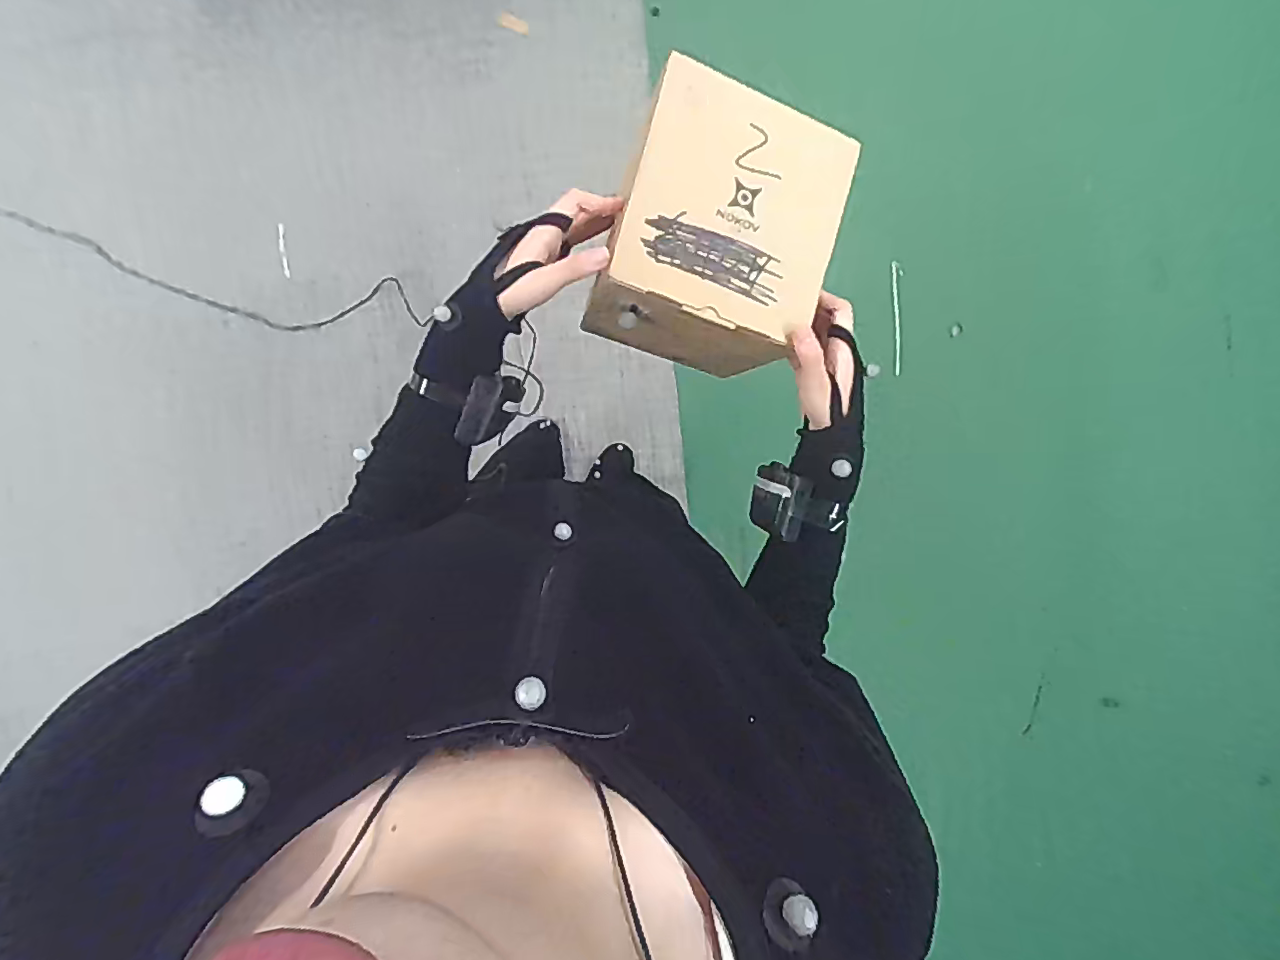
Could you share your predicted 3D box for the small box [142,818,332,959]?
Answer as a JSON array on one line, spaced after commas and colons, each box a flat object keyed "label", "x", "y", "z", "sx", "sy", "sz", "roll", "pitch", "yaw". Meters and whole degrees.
[{"label": "small box", "x": -0.617, "y": 0.667, "z": 0.850, "sx": 0.168, "sy": 0.176, "sz": 0.179, "roll": -8, "pitch": 94, "yaw": -5}]

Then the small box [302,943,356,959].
[{"label": "small box", "x": -0.565, "y": 0.897, "z": 0.868, "sx": 0.168, "sy": 0.176, "sz": 0.179, "roll": -12, "pitch": 92, "yaw": -5}]
